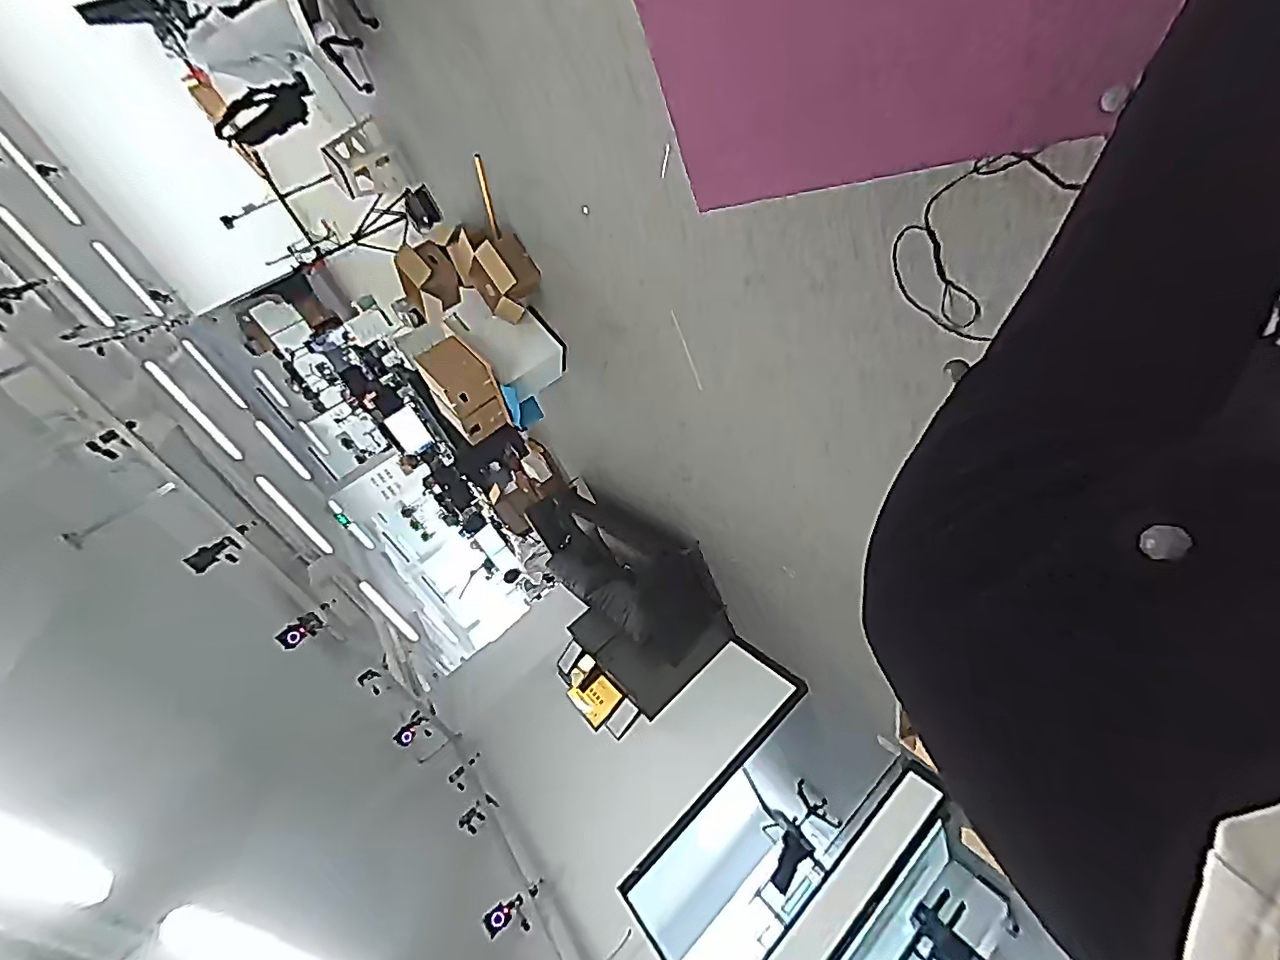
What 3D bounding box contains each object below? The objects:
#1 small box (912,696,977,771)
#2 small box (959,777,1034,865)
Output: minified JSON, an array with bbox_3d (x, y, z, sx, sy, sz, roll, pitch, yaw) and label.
[{"bbox_3d":[1.201,0.996,2.134,0.168,0.176,0.179,29,150,44],"label":"small box"},{"bbox_3d":[1.246,1.189,1.892,0.168,0.176,0.179,27,150,47],"label":"small box"}]
